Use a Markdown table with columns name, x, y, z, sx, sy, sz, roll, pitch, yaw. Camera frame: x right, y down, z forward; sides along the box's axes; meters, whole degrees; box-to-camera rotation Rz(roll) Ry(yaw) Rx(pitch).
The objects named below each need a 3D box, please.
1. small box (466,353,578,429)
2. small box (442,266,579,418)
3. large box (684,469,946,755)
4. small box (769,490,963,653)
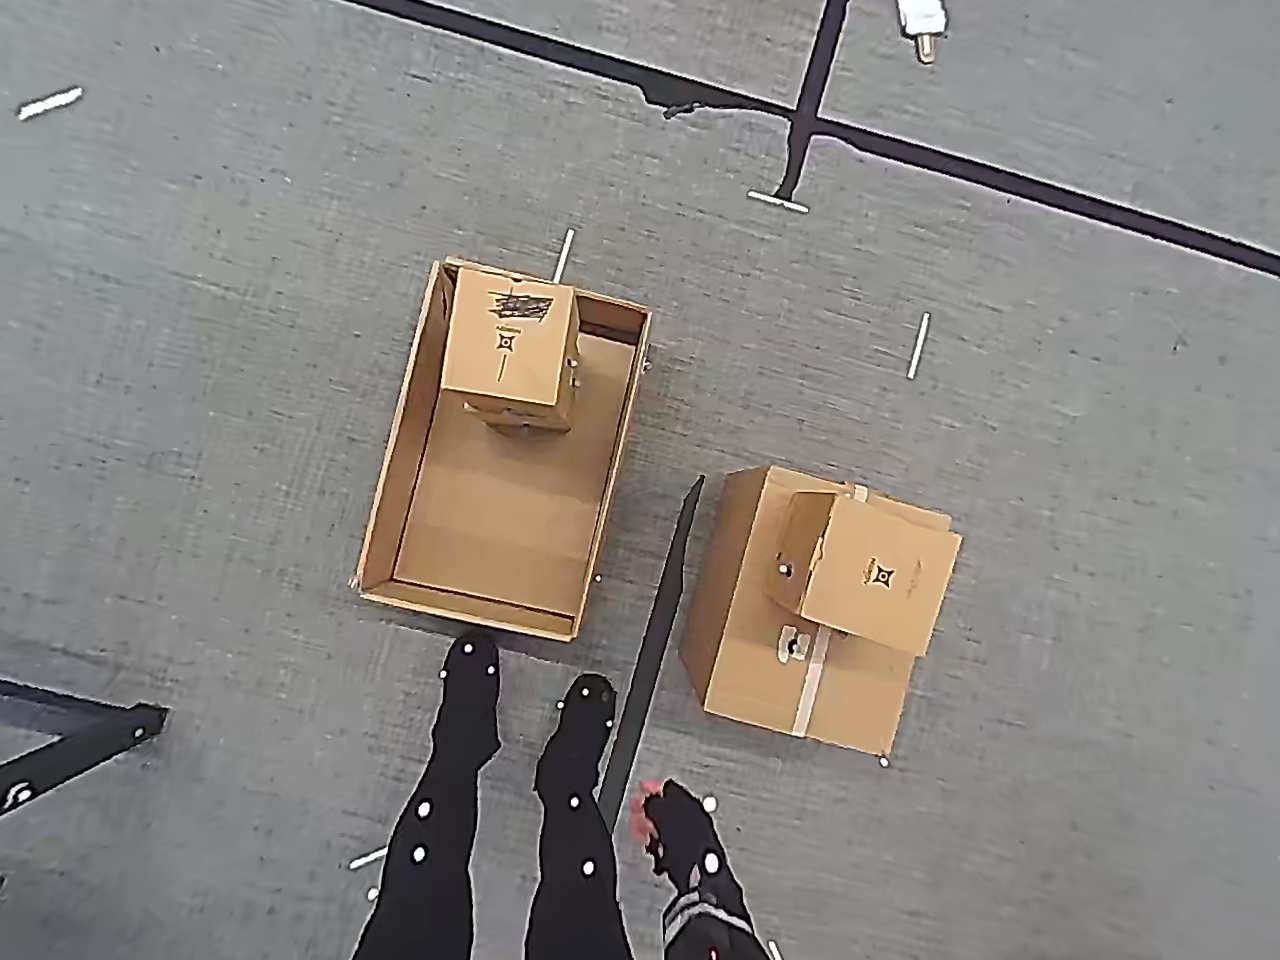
| name | x | y | z | sx | sy | sz | roll | pitch | yaw |
| --- | --- | --- | --- | --- | --- | --- | --- | --- | --- |
| small box | -0.210 | -0.190 | 1.008 | 0.179 | 0.176 | 0.168 | 5 | 89 | -4 |
| small box | -0.190 | -0.203 | 0.844 | 0.168 | 0.176 | 0.179 | 9 | 89 | -3 |
| large box | 0.293 | 0.210 | 1.005 | 0.320 | 0.320 | 0.408 | 15 | 88 | -1 |
| small box | 0.302 | 0.118 | 0.764 | 0.179 | 0.176 | 0.168 | 18 | 89 | -2 |
